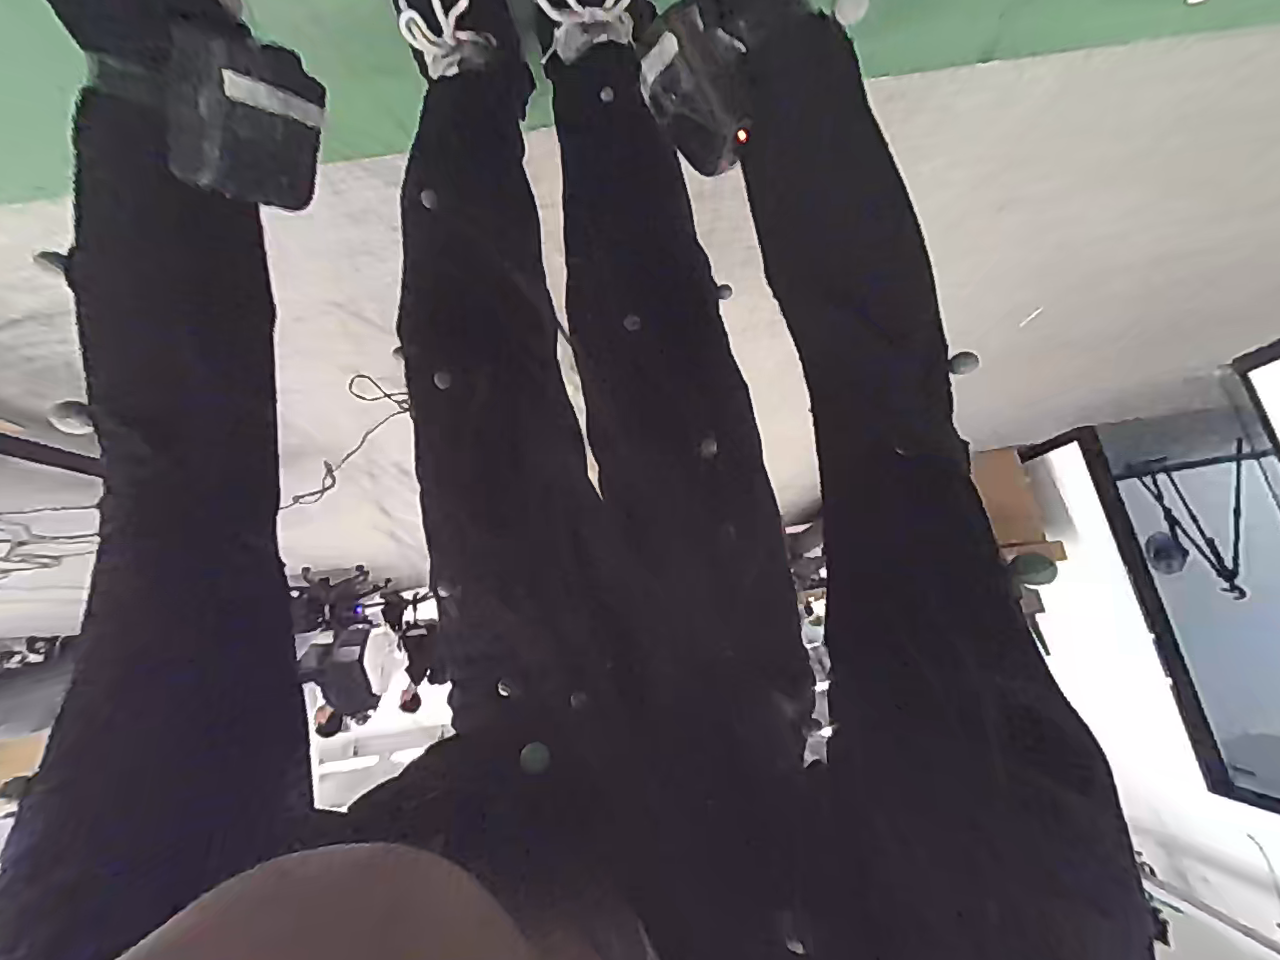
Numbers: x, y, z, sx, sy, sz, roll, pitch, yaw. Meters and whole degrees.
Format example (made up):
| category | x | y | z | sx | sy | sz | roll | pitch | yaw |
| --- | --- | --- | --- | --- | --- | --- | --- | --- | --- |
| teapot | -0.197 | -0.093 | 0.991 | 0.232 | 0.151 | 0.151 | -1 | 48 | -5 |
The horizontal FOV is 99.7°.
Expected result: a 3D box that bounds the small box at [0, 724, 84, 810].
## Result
| category | x | y | z | sx | sy | sz | roll | pitch | yaw |
| --- | --- | --- | --- | --- | --- | --- | --- | --- | --- |
| small box | -1.610 | 0.749 | 1.401 | 0.168 | 0.176 | 0.179 | -10 | 166 | -2 |
